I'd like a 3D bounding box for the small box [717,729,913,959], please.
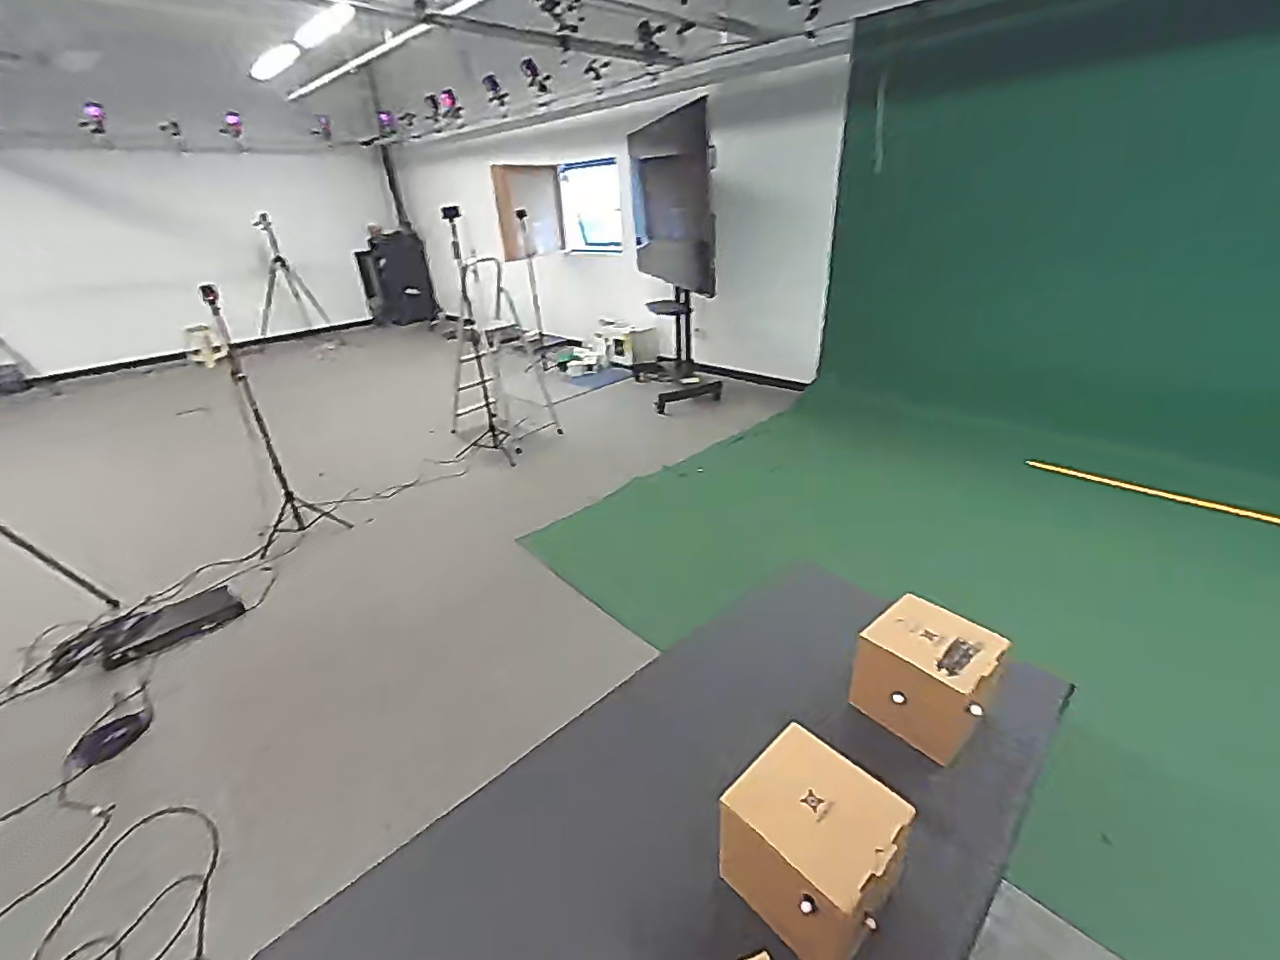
[{"bbox_3d":[0.214,0.474,0.695,0.168,0.176,0.179,-23,34,-37],"label":"small box"}]
